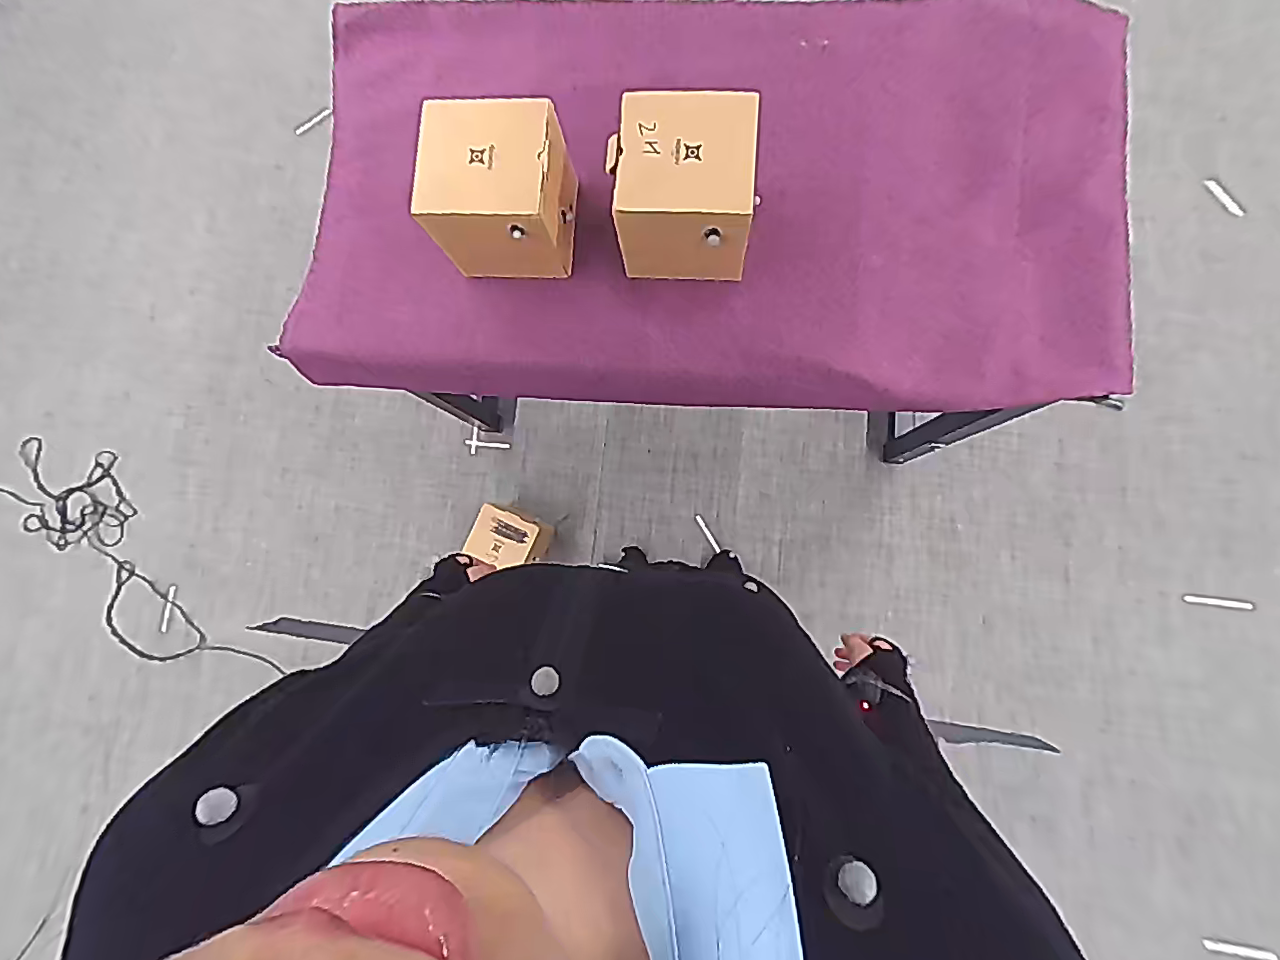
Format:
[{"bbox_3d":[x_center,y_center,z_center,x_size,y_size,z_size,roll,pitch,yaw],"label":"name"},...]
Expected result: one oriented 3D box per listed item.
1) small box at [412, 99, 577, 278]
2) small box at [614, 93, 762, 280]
[{"bbox_3d":[-0.199,-0.408,0.781,0.179,0.176,0.168,2,83,5],"label":"small box"},{"bbox_3d":[0.066,-0.396,0.753,0.179,0.176,0.168,4,83,6],"label":"small box"}]
